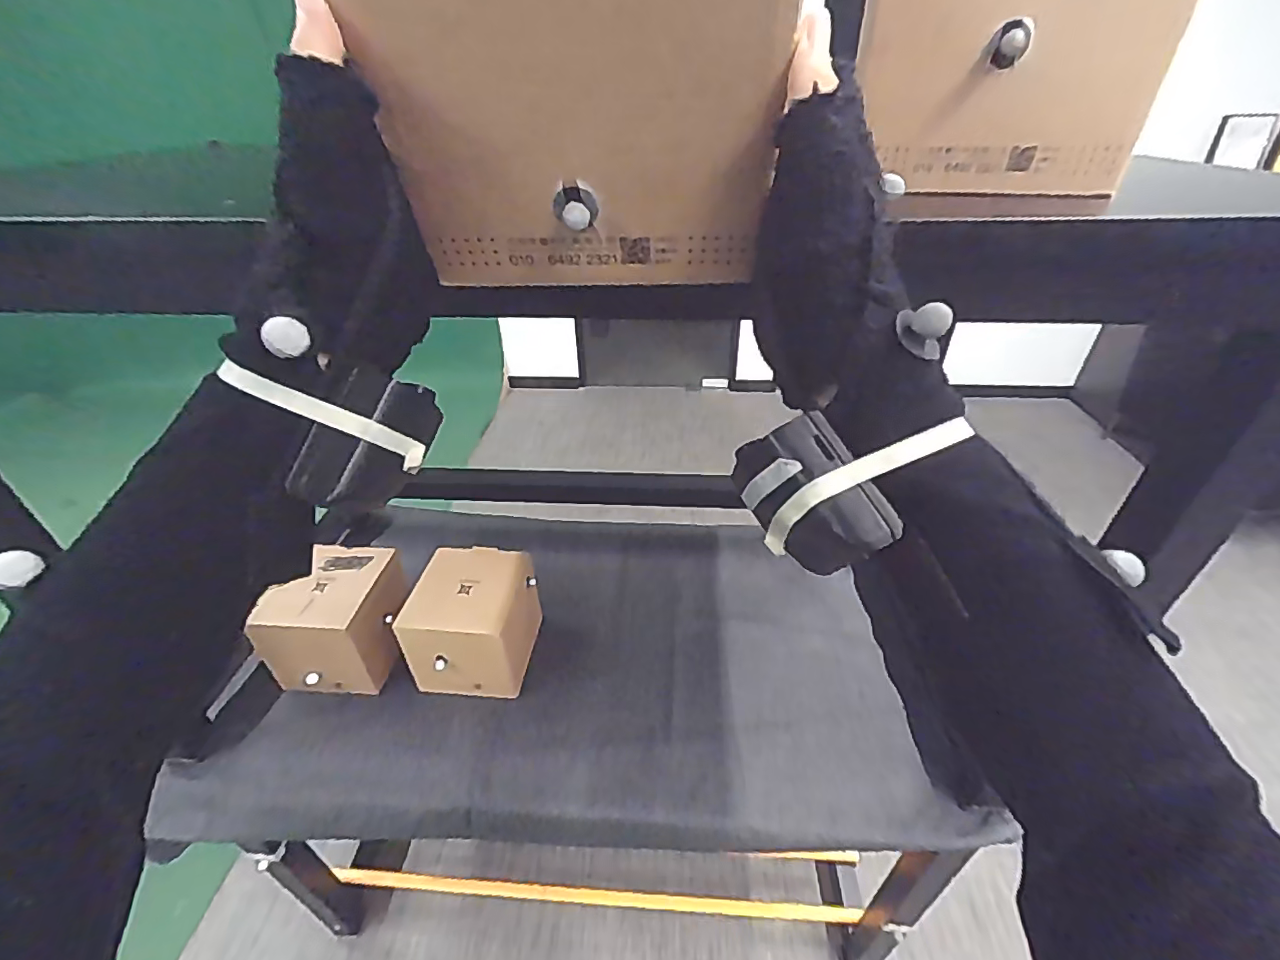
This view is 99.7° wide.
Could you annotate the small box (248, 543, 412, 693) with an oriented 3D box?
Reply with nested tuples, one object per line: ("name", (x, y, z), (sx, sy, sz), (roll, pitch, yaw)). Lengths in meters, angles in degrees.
("small box", (-0.501, 0.230, 0.915), (0.168, 0.176, 0.179), (2, 36, 3))

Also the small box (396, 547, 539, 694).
("small box", (-0.274, 0.235, 0.909), (0.168, 0.176, 0.179), (3, 35, 4))

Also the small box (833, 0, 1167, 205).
("small box", (0.242, -0.305, 0.394), (0.168, 0.176, 0.179), (8, 36, 13))
